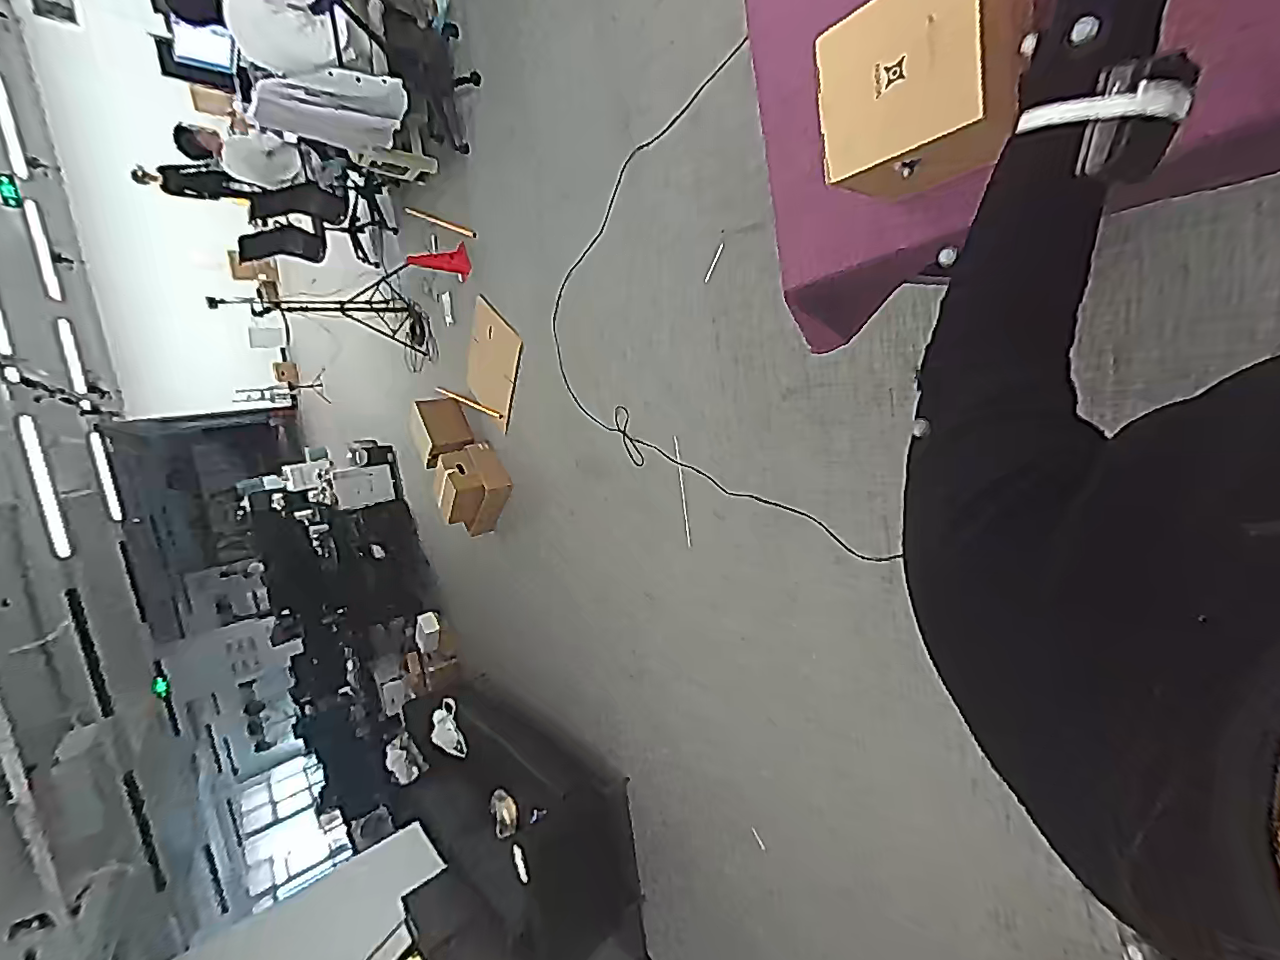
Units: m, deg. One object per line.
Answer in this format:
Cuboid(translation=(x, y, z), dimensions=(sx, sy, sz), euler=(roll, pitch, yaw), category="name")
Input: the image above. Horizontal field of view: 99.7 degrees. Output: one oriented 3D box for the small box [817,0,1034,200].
Cuboid(translation=(0.337, -0.452, 0.640), dimensions=(0.179, 0.176, 0.168), euler=(3, 104, 50), category="small box")
